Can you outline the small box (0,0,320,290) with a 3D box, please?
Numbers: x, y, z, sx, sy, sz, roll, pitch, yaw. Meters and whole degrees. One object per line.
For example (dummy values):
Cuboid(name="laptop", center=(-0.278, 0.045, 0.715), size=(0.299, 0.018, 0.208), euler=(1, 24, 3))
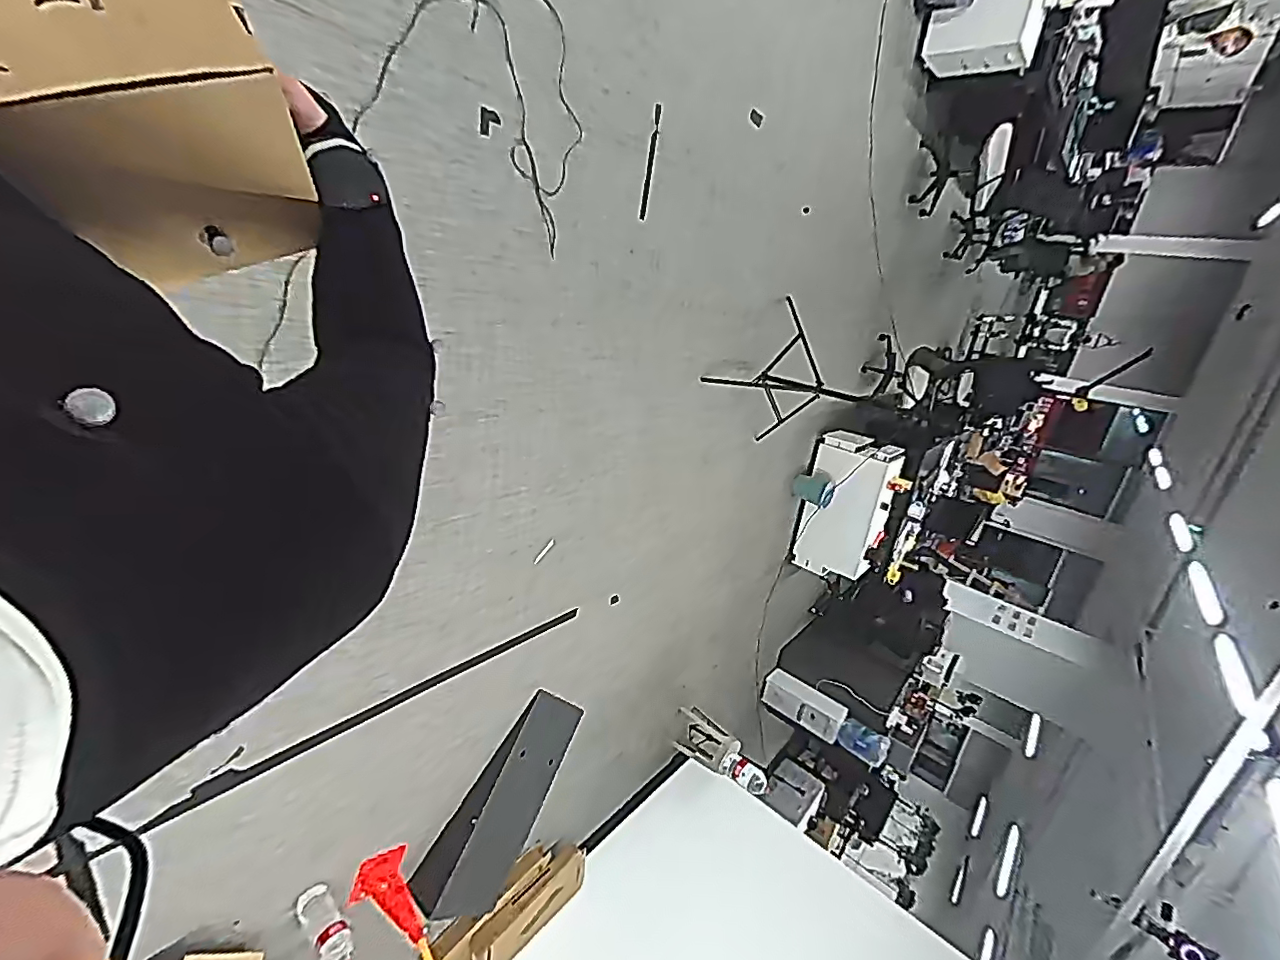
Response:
Cuboid(name="small box", center=(-0.389, -0.289, 0.438), size=(0.179, 0.168, 0.176), euler=(-29, 171, -24))
